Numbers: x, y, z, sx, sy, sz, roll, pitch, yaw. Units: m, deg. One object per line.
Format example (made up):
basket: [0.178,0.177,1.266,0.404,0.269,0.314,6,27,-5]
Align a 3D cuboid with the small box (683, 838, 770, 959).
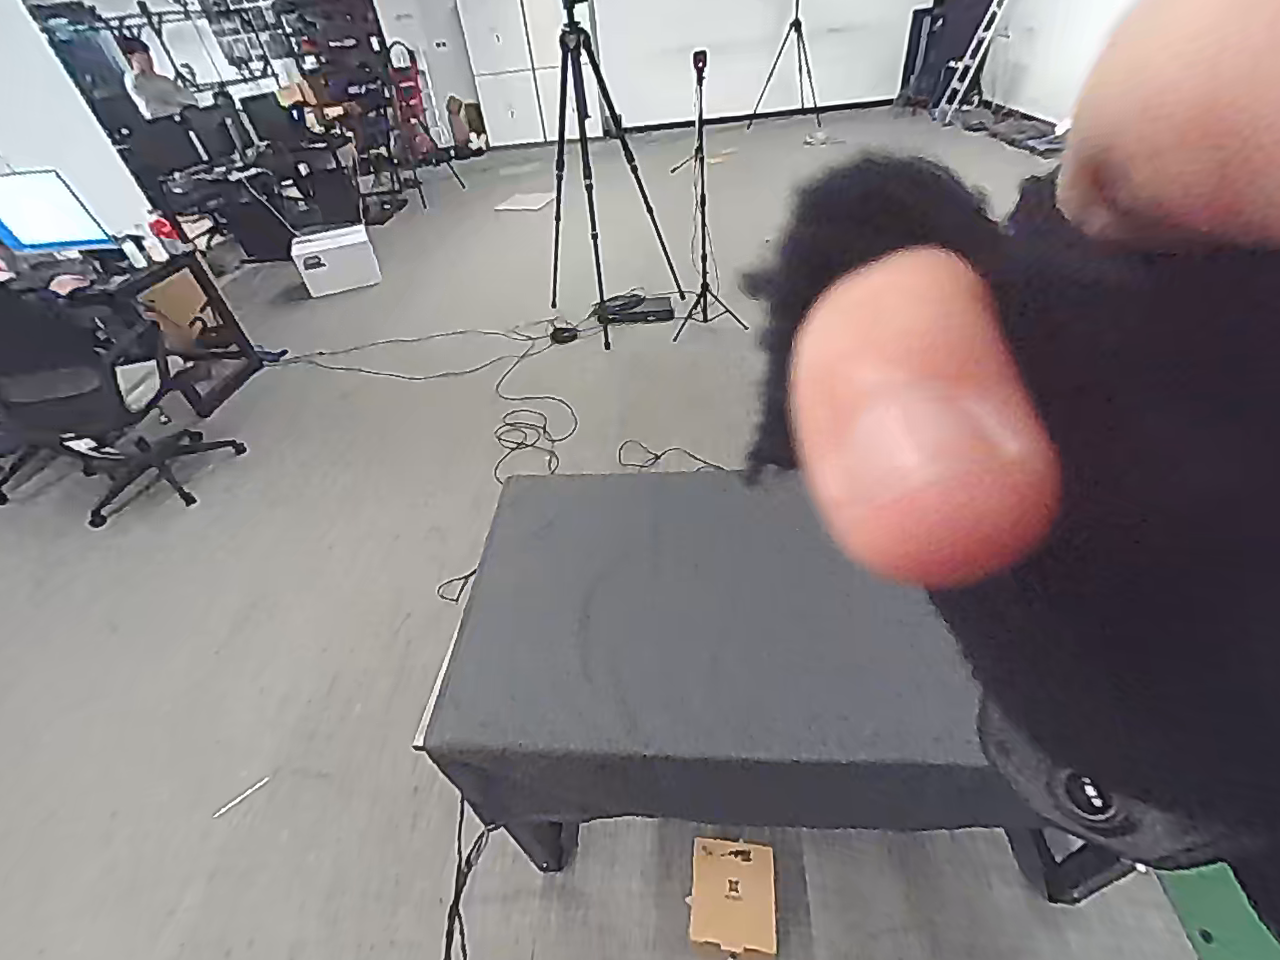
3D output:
small box: [0.183,0.878,1.122,0.168,0.176,0.179,1,42,10]
